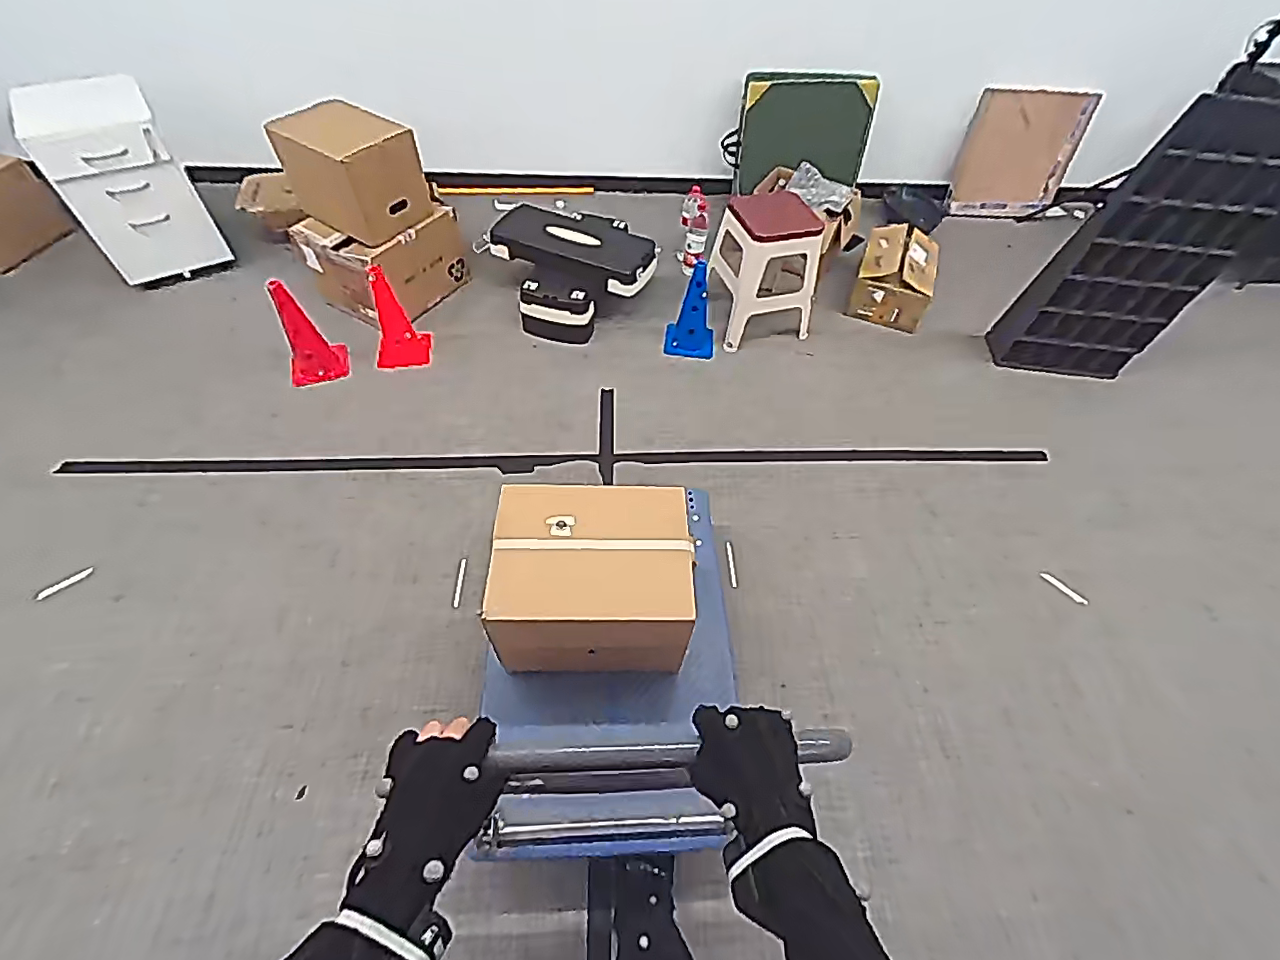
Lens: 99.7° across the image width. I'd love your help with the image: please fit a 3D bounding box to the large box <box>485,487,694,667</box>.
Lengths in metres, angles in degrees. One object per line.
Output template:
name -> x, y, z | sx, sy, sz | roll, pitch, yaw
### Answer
large box -> -0.102, 0.227, 1.228 | 0.408, 0.320, 0.320 | 1, 53, -2
